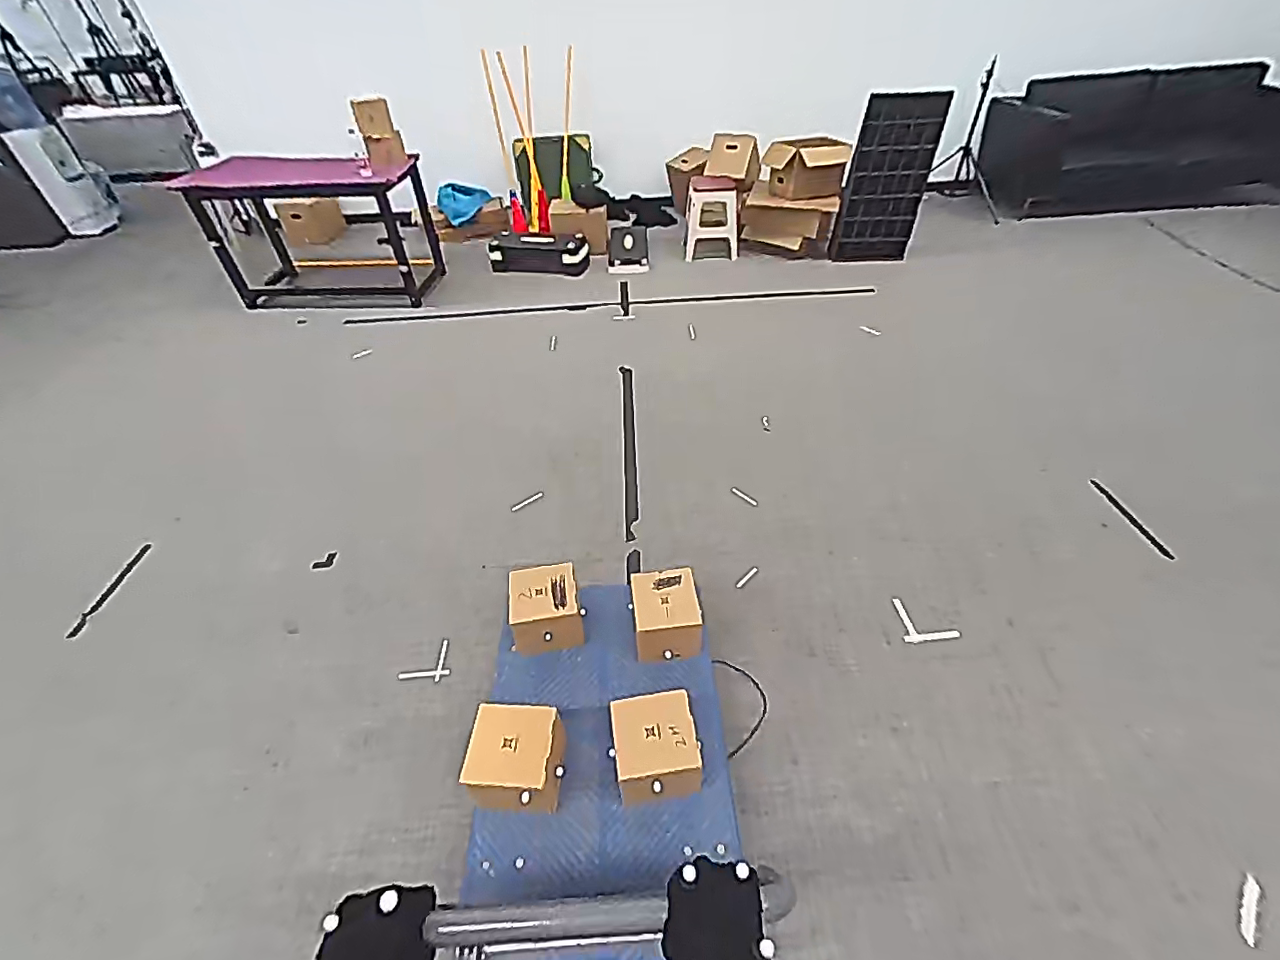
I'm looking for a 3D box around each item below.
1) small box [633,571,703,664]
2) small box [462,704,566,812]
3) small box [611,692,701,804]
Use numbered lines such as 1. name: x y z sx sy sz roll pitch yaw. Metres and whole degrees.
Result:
1. small box: 0.071 0.369 1.452 0.168 0.176 0.179 -6 44 -3
2. small box: -0.270 0.620 1.204 0.179 0.176 0.168 2 43 3
3. small box: 0.035 0.600 1.207 0.179 0.176 0.168 -7 43 -4
